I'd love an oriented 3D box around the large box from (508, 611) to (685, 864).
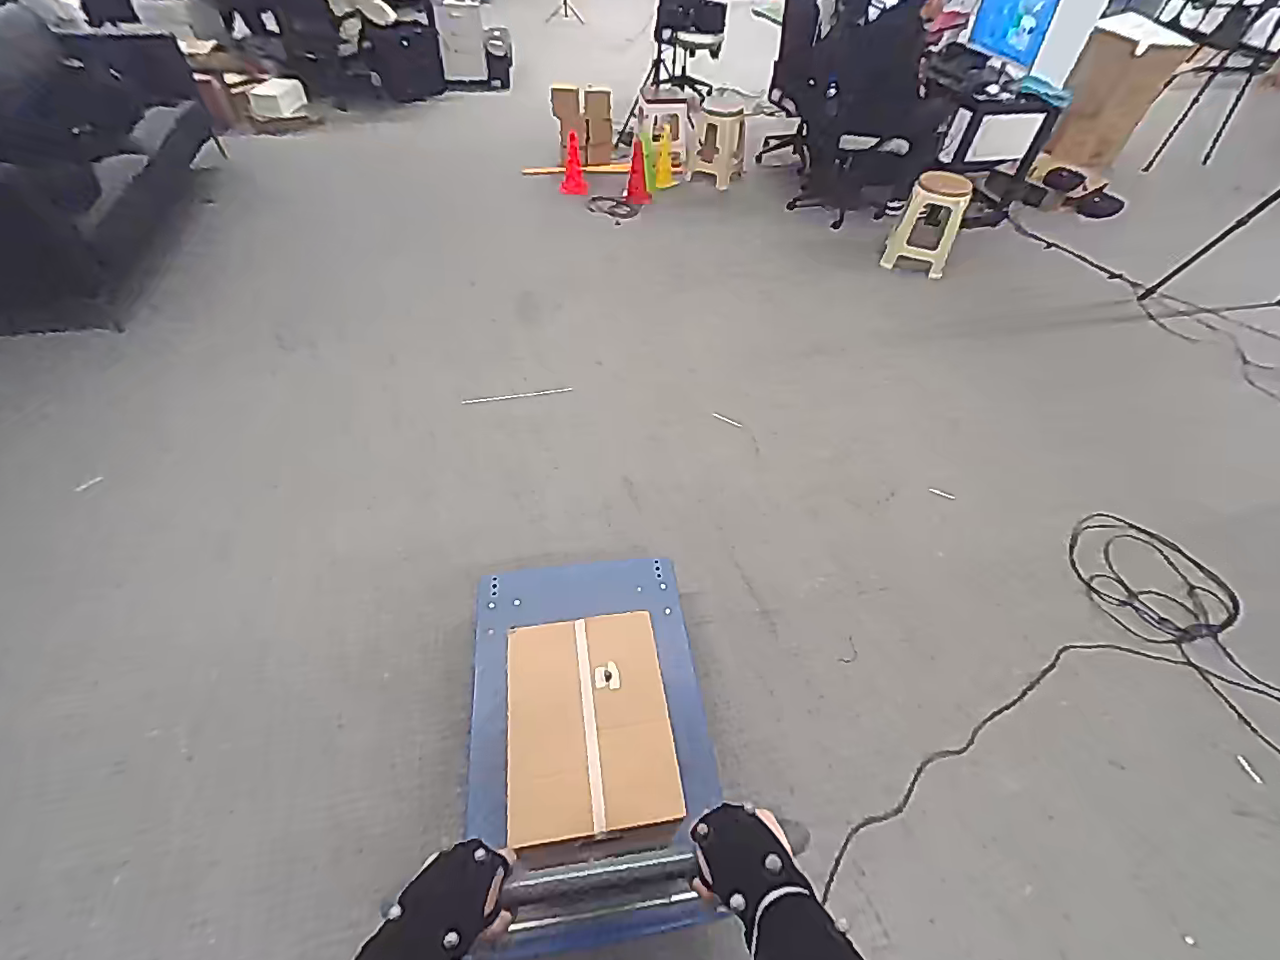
[{"bbox_3d":[-0.106,0.557,1.184,0.320,0.320,0.408,-6,50,-8],"label":"large box"}]
